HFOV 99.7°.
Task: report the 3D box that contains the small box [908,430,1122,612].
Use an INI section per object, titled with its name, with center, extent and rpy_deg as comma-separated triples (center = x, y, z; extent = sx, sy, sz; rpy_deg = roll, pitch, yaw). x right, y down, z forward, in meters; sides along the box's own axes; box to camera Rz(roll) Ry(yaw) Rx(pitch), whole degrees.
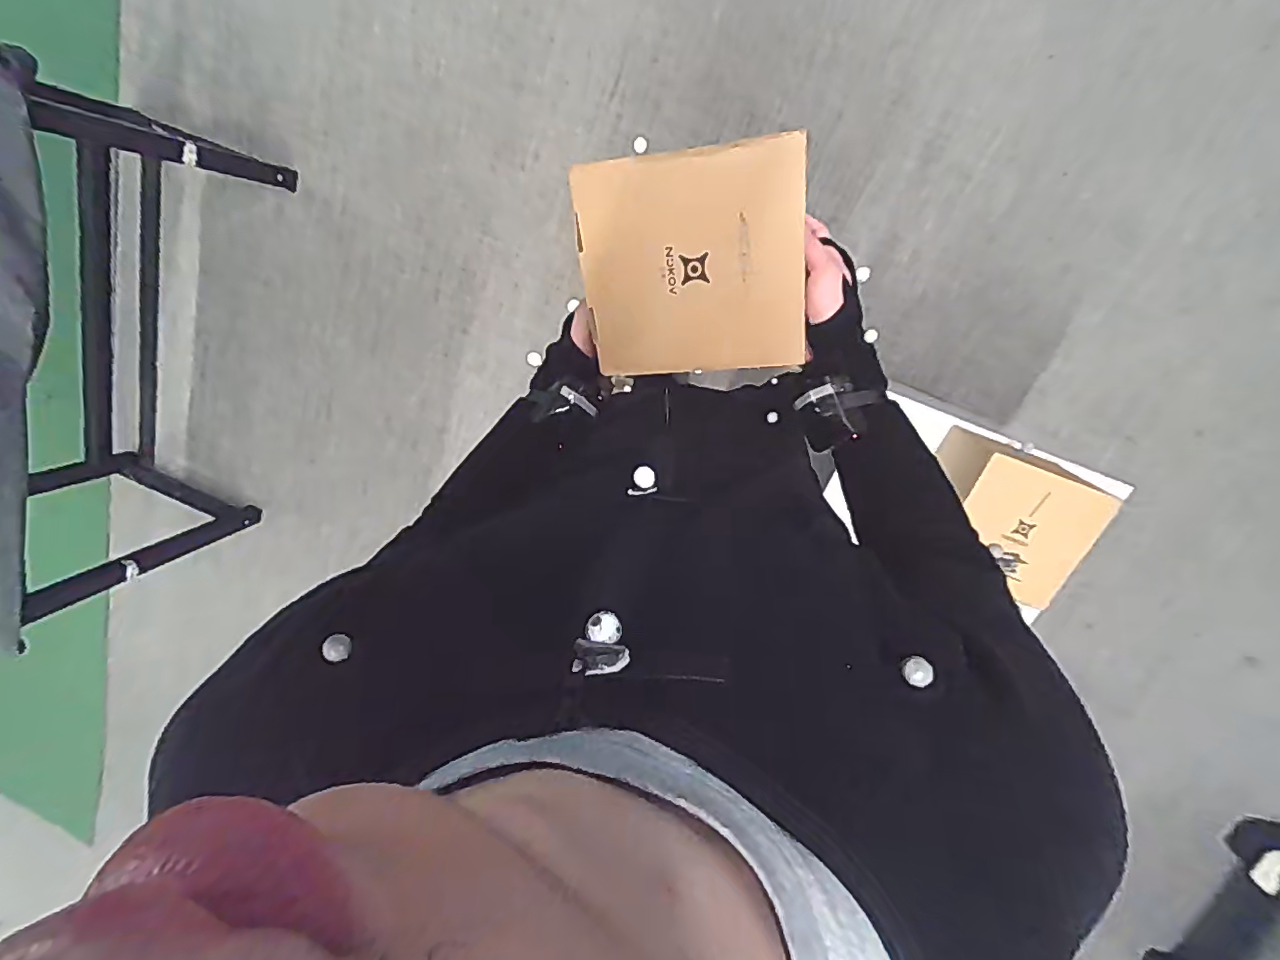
[small box]
center = 0.510, 0.049, 0.775
extent = 0.168, 0.176, 0.179
rpy_deg = 22, 110, 5
